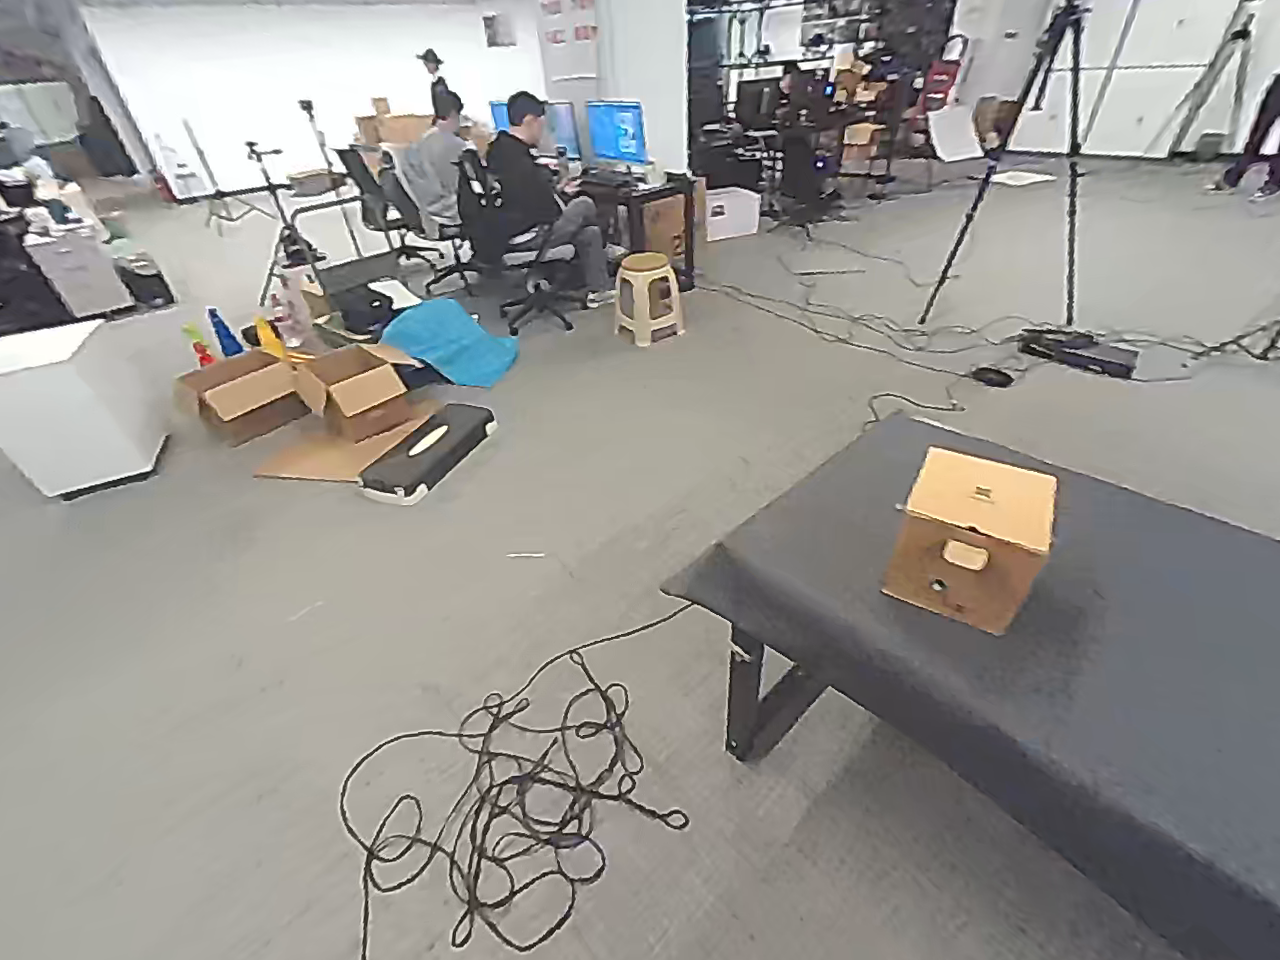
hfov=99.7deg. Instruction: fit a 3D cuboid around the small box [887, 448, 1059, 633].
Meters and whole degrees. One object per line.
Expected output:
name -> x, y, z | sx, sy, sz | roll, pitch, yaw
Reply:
small box -> 0.480, 0.085, 0.792 | 0.168, 0.176, 0.179 | 20, 44, 28
